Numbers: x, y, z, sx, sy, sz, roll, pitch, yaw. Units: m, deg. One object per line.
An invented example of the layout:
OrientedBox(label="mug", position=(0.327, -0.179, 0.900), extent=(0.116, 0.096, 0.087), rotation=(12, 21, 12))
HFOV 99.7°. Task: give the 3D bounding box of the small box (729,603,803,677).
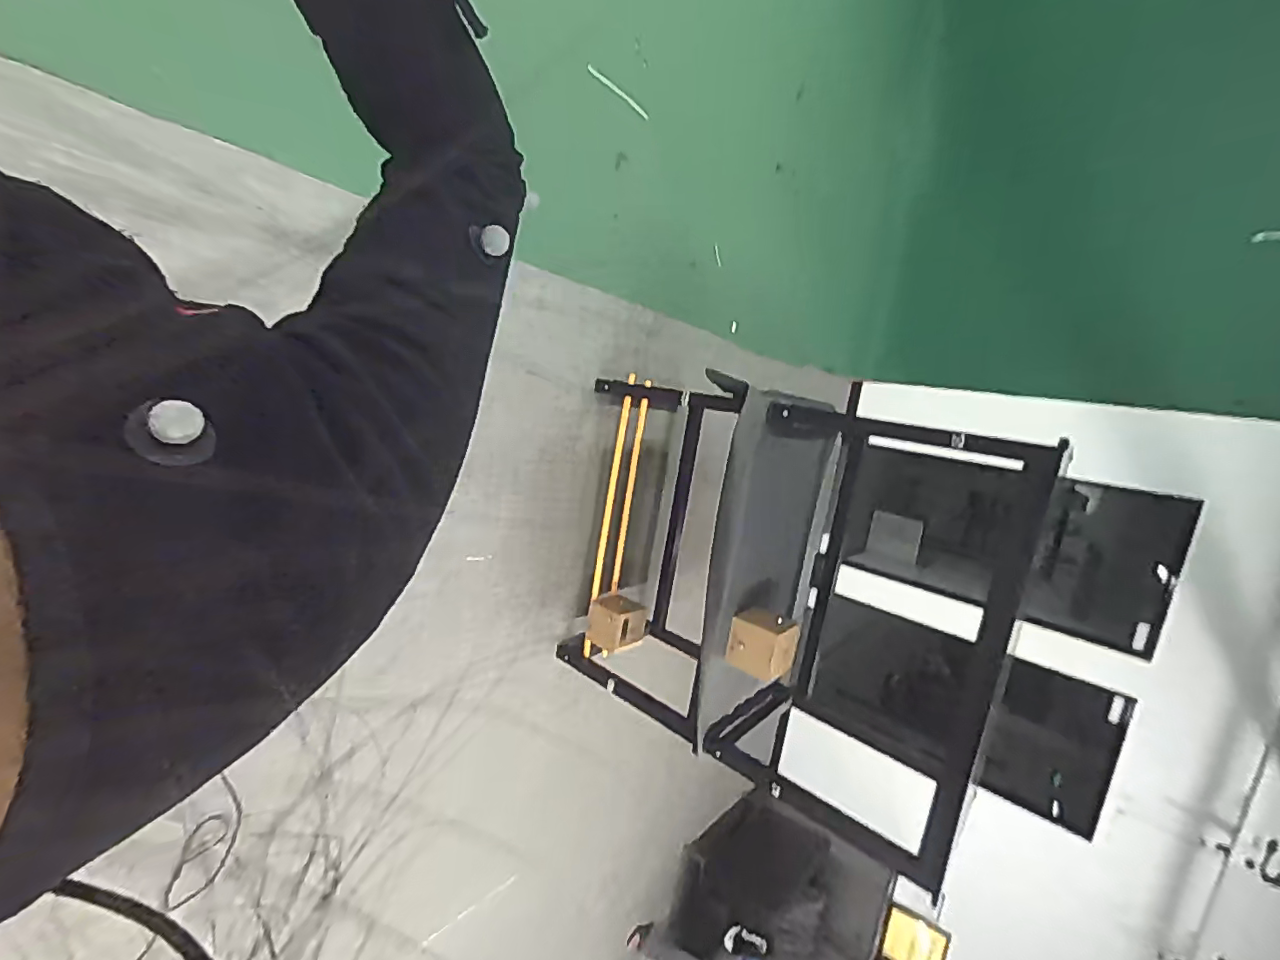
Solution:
OrientedBox(label="small box", position=(0.423, 0.528, 1.815), extent=(0.179, 0.176, 0.168), rotation=(-3, 104, -51))
